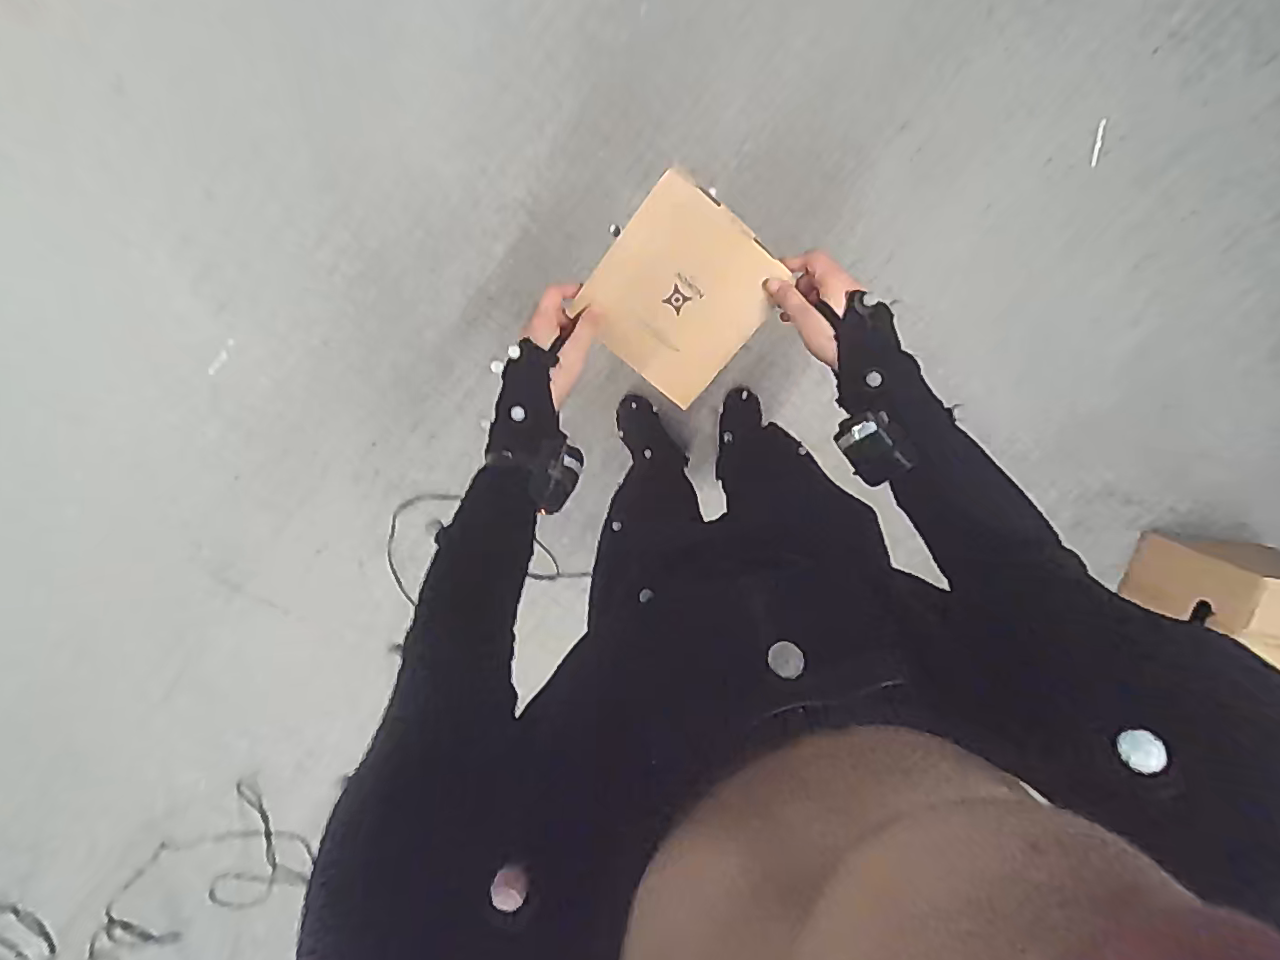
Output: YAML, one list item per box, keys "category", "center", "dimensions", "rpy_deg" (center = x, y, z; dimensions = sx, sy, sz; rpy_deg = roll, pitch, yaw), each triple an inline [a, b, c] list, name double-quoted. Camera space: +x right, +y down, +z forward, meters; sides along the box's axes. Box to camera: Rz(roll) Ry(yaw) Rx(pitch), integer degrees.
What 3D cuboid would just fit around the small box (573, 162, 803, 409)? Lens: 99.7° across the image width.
- category: "small box"
  center: [0.048, -0.215, 0.611]
  dimensions: [0.168, 0.176, 0.179]
  rpy_deg: [37, 110, -12]
